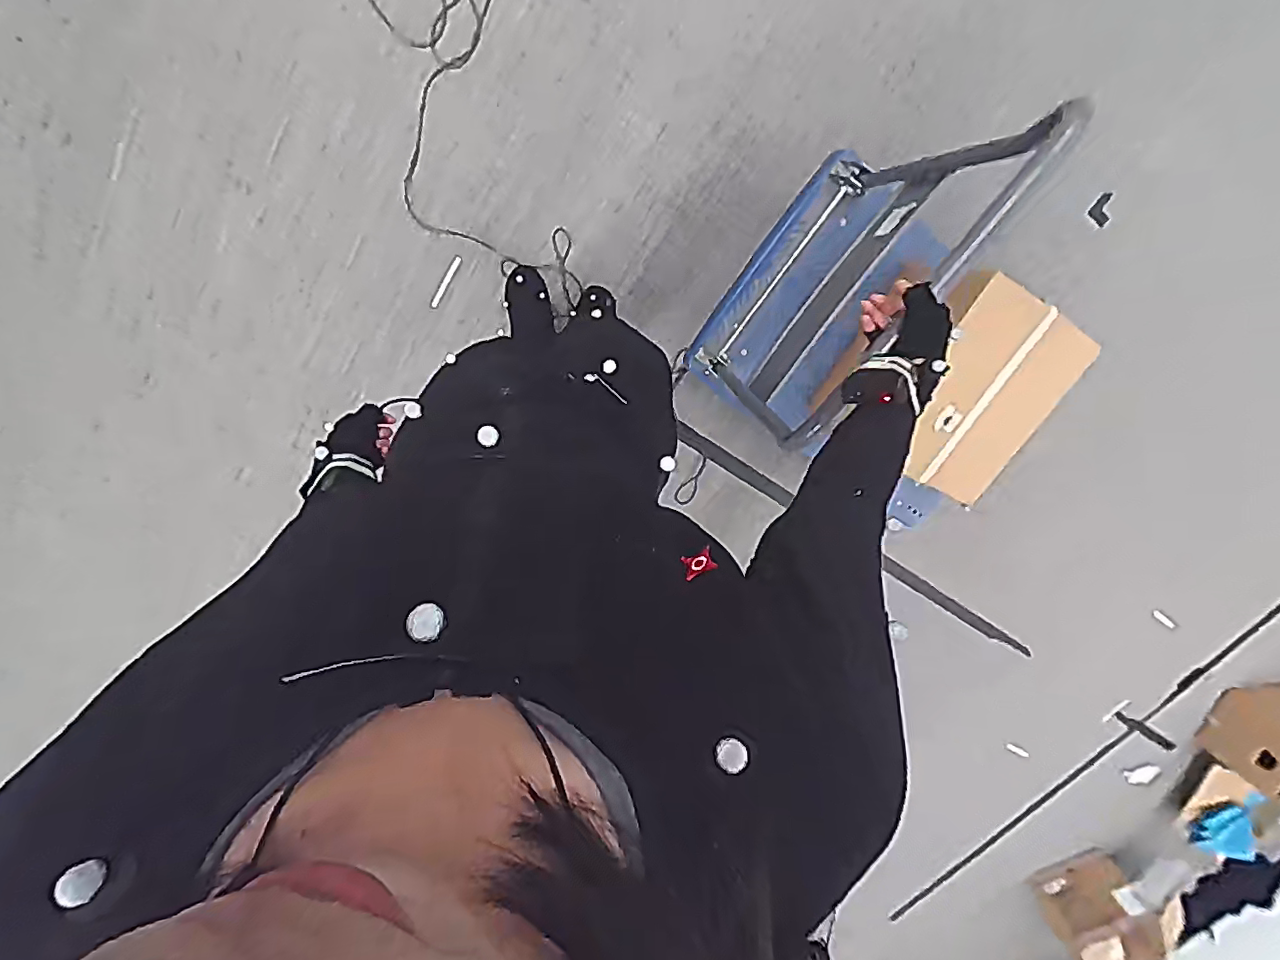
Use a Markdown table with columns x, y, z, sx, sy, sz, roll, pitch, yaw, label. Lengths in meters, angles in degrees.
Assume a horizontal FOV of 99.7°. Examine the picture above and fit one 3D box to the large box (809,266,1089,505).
| x | y | z | sx | sy | sz | roll | pitch | yaw | label |
| --- | --- | --- | --- | --- | --- | --- | --- | --- | --- |
| 0.671 | -0.226 | 1.244 | 0.320 | 0.320 | 0.408 | 24 | 110 | -16 | large box |
